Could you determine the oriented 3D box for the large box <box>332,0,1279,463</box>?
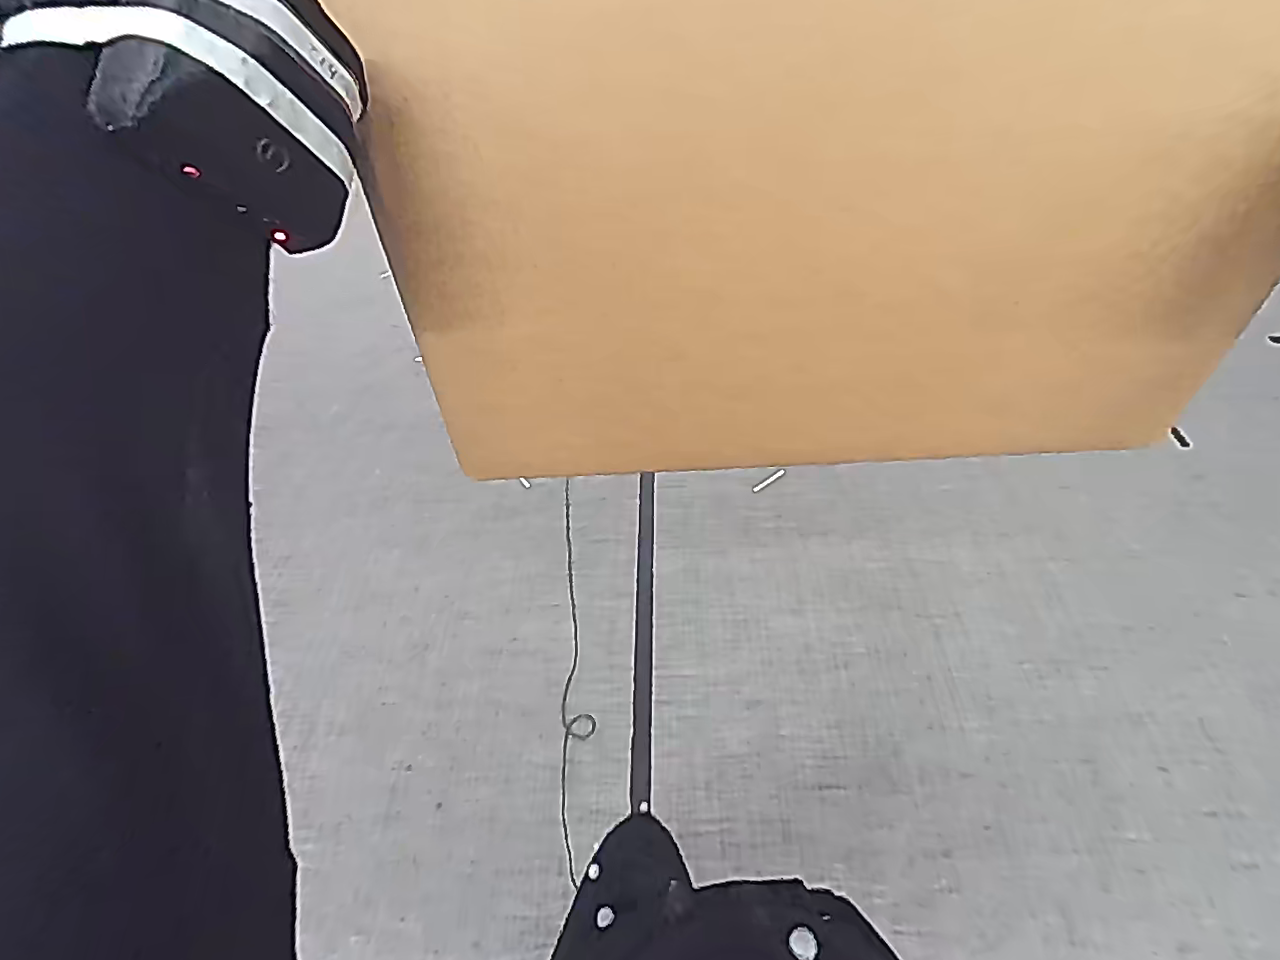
[{"bbox_3d":[0.085,-0.228,0.334,0.408,0.320,0.320,-2,41,0],"label":"large box"}]
